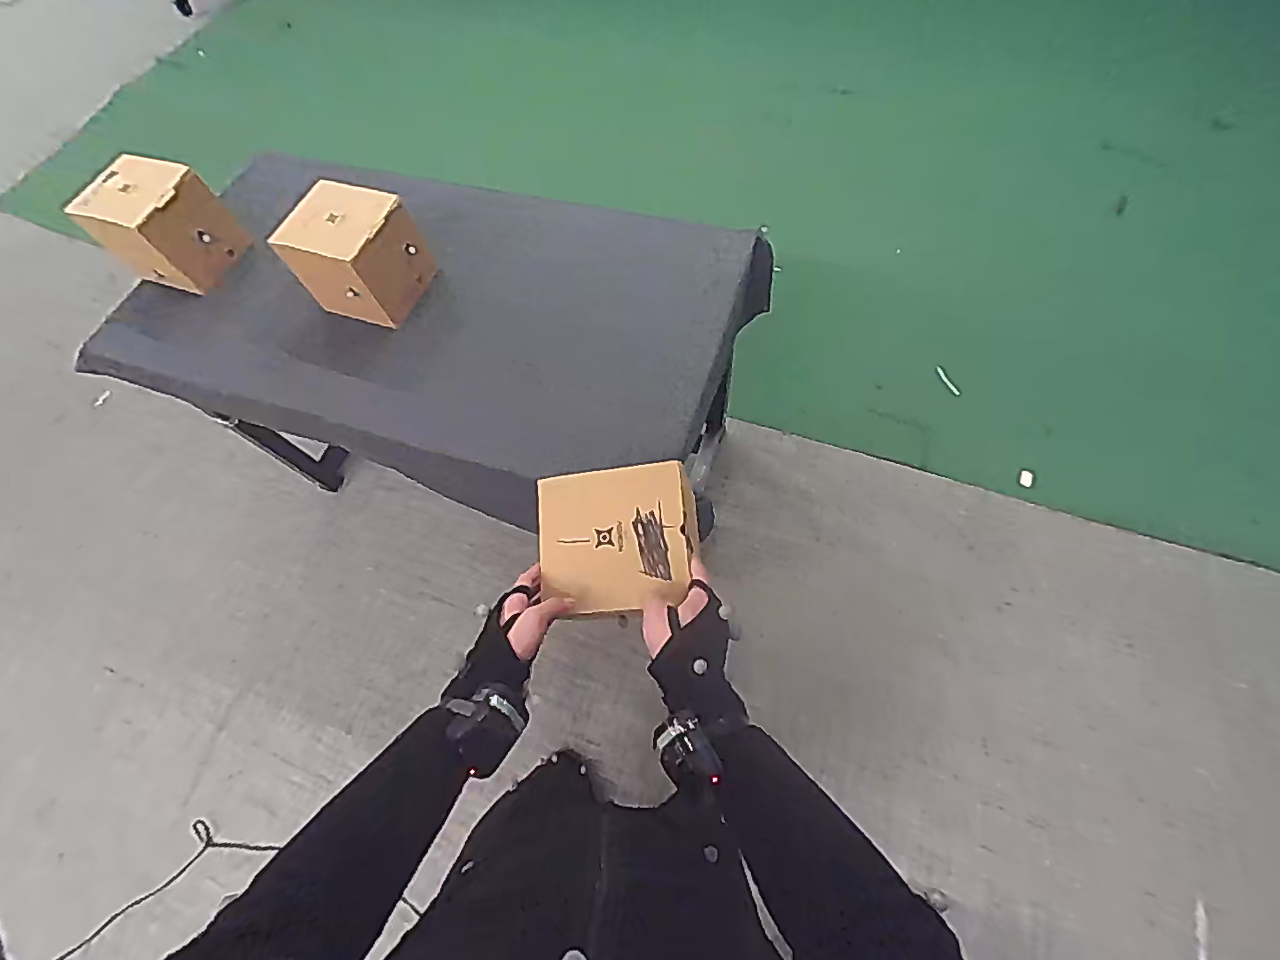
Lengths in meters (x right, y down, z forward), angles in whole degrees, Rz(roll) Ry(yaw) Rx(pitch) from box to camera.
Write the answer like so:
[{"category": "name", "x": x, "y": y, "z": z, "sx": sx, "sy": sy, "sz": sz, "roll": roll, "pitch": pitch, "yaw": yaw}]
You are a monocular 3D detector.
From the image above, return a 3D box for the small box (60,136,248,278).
[{"category": "small box", "x": -0.928, "y": -0.524, "z": 1.055, "sx": 0.179, "sy": 0.176, "sz": 0.168, "roll": 18, "pitch": 66, "yaw": 10}]

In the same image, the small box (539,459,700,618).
[{"category": "small box", "x": -0.017, "y": 0.083, "z": 0.680, "sx": 0.179, "sy": 0.176, "sz": 0.168, "roll": -6, "pitch": 72, "yaw": 8}]

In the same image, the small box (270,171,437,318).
[{"category": "small box", "x": -0.506, "y": -0.423, "z": 0.987, "sx": 0.179, "sy": 0.176, "sz": 0.168, "roll": 17, "pitch": 66, "yaw": 12}]
